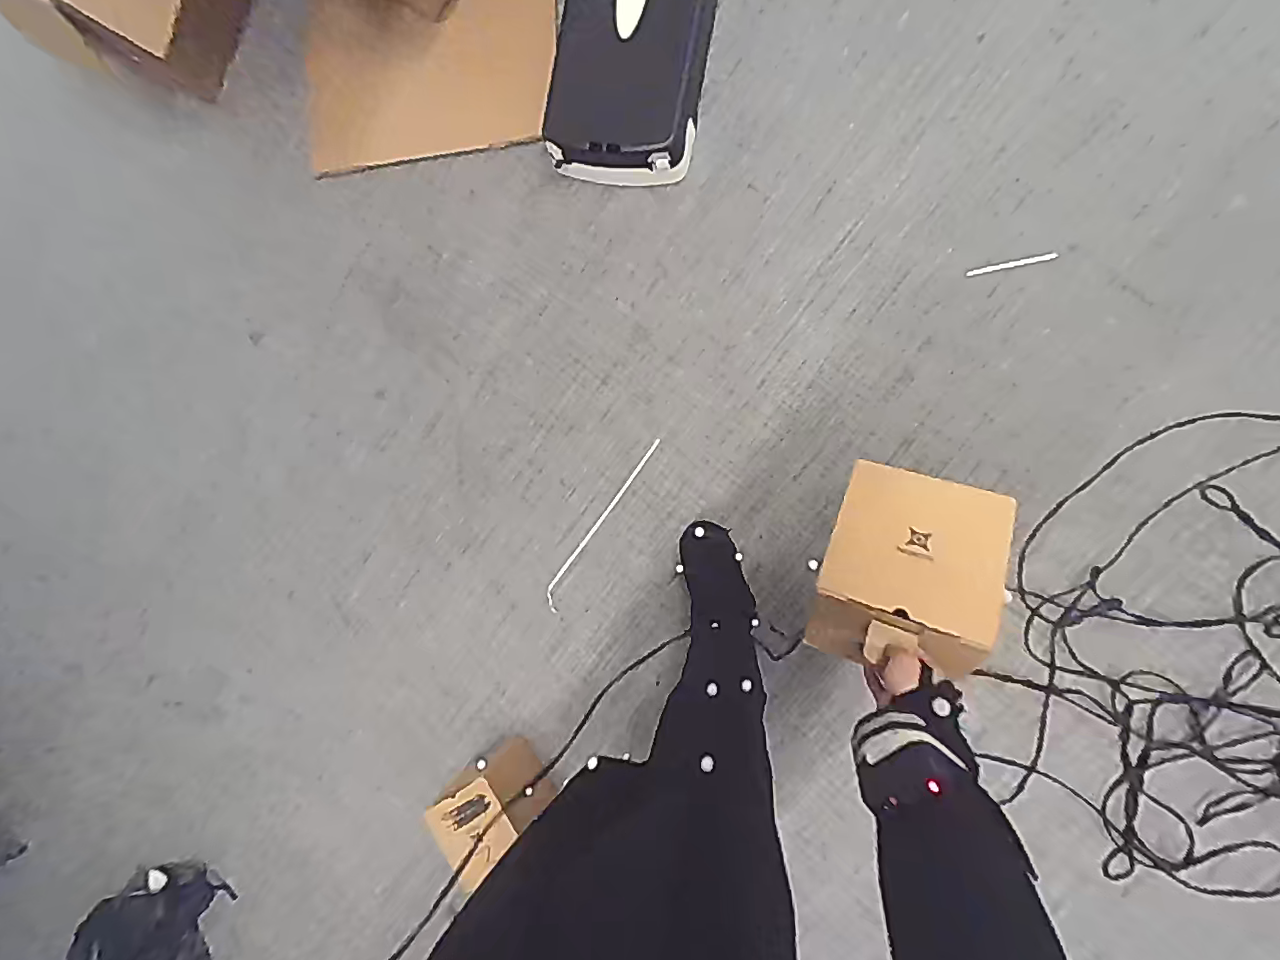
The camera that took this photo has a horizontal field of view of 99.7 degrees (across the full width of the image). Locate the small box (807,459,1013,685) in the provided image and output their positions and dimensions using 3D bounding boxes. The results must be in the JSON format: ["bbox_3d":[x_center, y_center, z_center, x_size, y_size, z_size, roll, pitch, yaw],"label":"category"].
[{"bbox_3d":[0.303,0.109,0.632,0.168,0.176,0.179,17,61,21],"label":"small box"}]
